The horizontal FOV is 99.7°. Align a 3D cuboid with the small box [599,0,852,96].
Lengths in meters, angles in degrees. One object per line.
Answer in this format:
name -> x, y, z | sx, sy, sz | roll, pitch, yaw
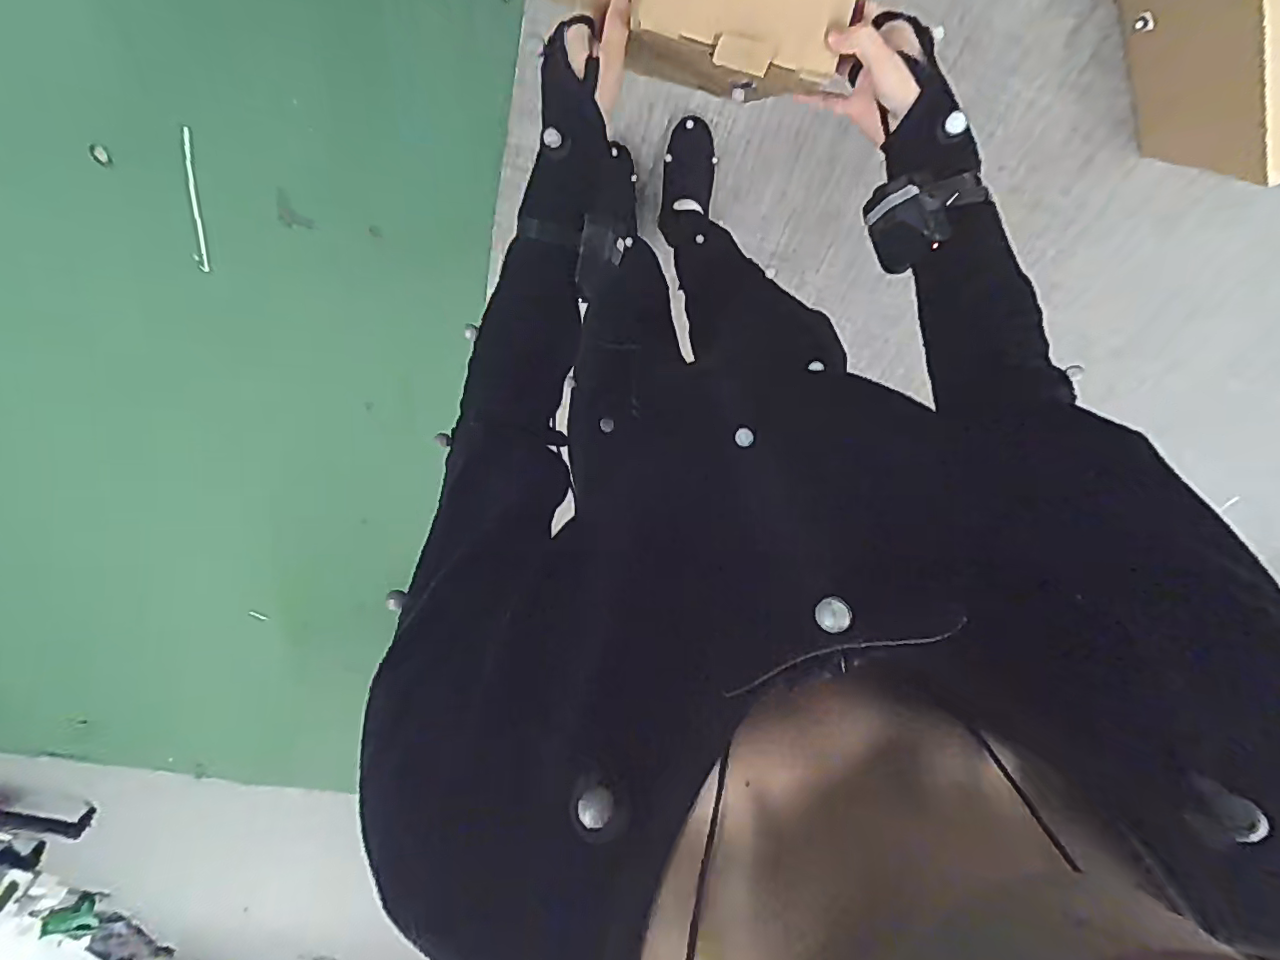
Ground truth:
small box -> 0.069, -0.434, 0.433 | 0.168, 0.176, 0.179 | 2, 118, -18
